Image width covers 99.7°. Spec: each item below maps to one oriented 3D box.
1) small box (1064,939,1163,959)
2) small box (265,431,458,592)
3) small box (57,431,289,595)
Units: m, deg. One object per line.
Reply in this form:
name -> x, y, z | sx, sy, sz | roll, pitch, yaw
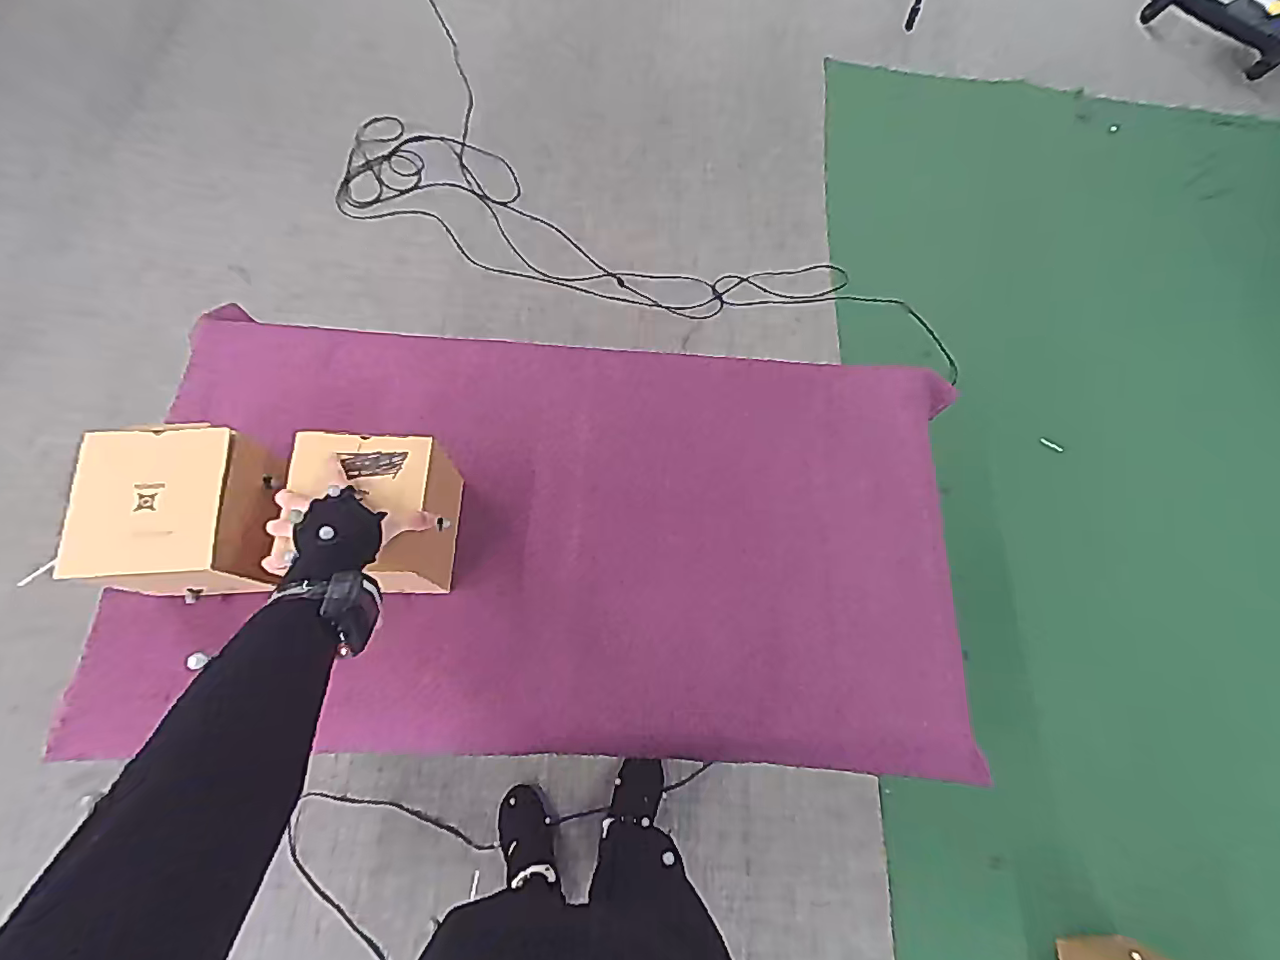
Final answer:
small box -> 1.092, 1.159, 1.203 | 0.179, 0.176, 0.168 | 3, 70, -4
small box -> -0.353, 0.050, 0.726 | 0.168, 0.176, 0.179 | 2, 71, -3
small box -> -0.580, 0.049, 0.712 | 0.168, 0.176, 0.179 | -2, 71, -4
